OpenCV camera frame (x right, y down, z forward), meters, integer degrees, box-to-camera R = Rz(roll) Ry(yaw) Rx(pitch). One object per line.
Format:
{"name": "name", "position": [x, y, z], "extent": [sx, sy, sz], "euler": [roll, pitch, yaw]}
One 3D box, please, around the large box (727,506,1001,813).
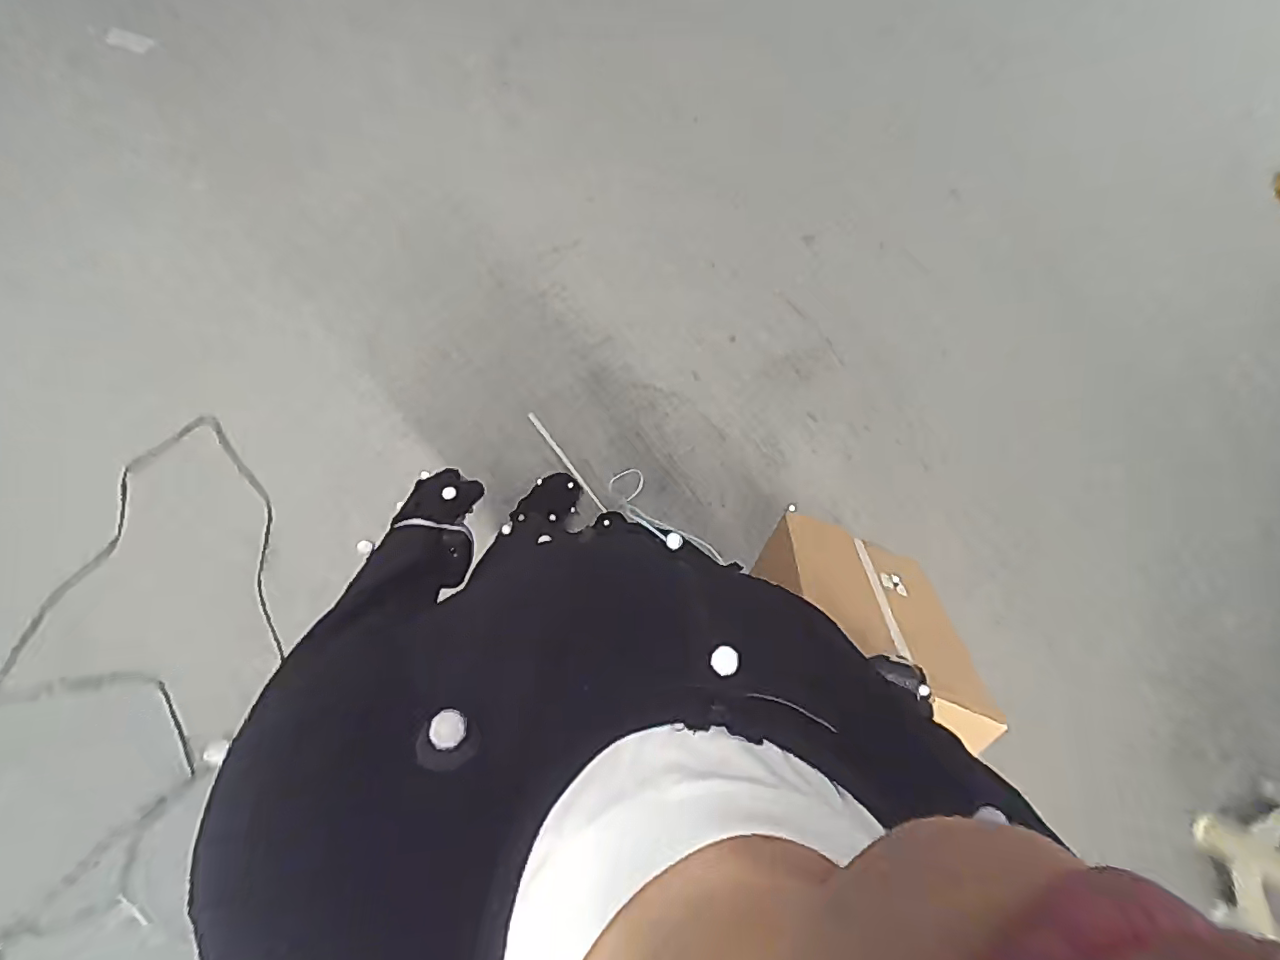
{"name": "large box", "position": [0.367, 0.318, 1.028], "extent": [0.320, 0.408, 0.320], "euler": [22, 117, -2]}
